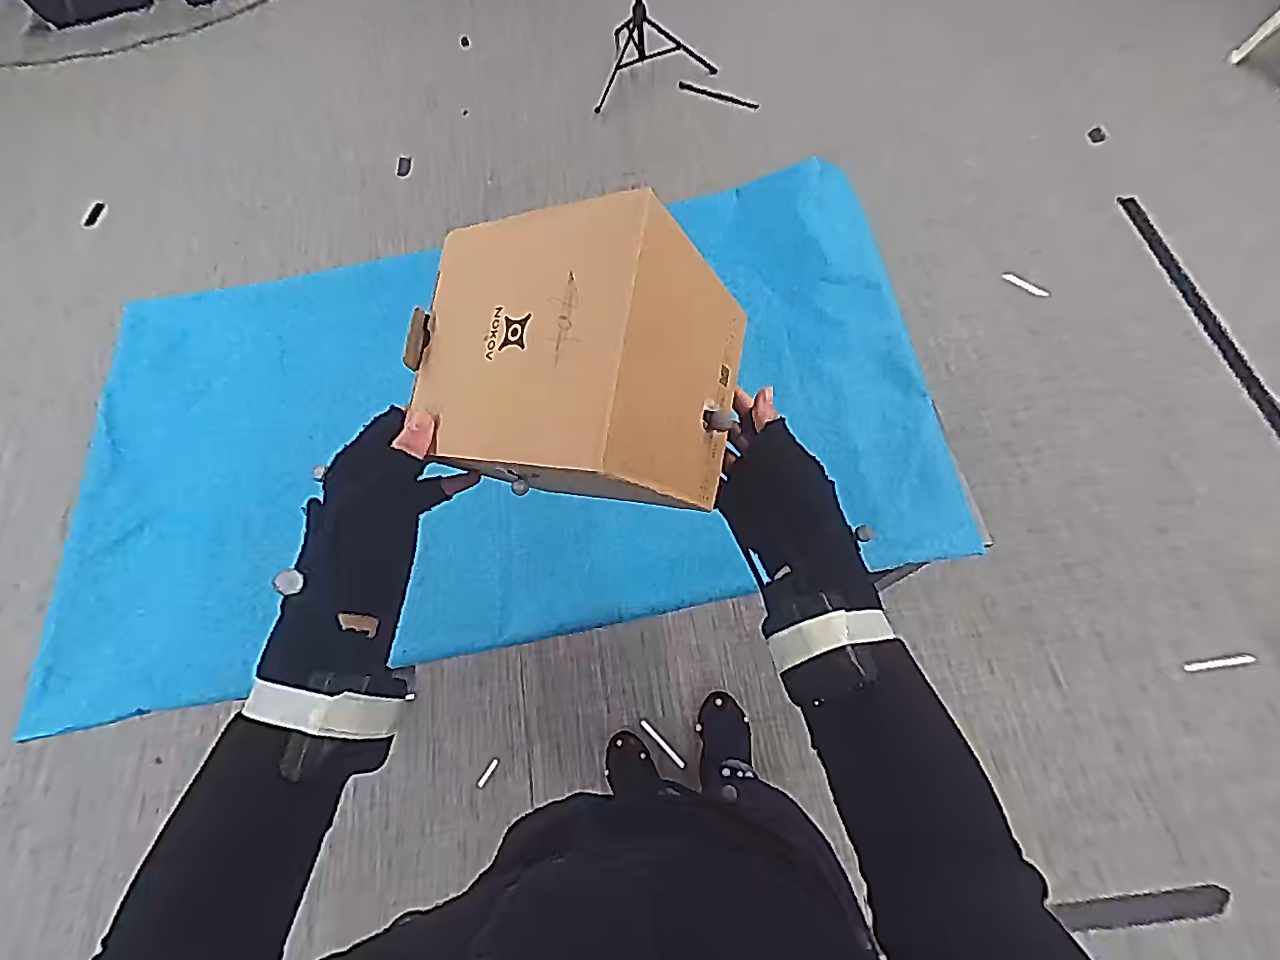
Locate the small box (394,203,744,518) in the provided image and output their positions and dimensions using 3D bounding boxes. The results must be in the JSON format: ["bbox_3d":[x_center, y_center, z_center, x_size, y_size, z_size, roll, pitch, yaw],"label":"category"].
[{"bbox_3d":[-0.043,-0.069,0.405,0.179,0.176,0.168,7,84,32],"label":"small box"}]
